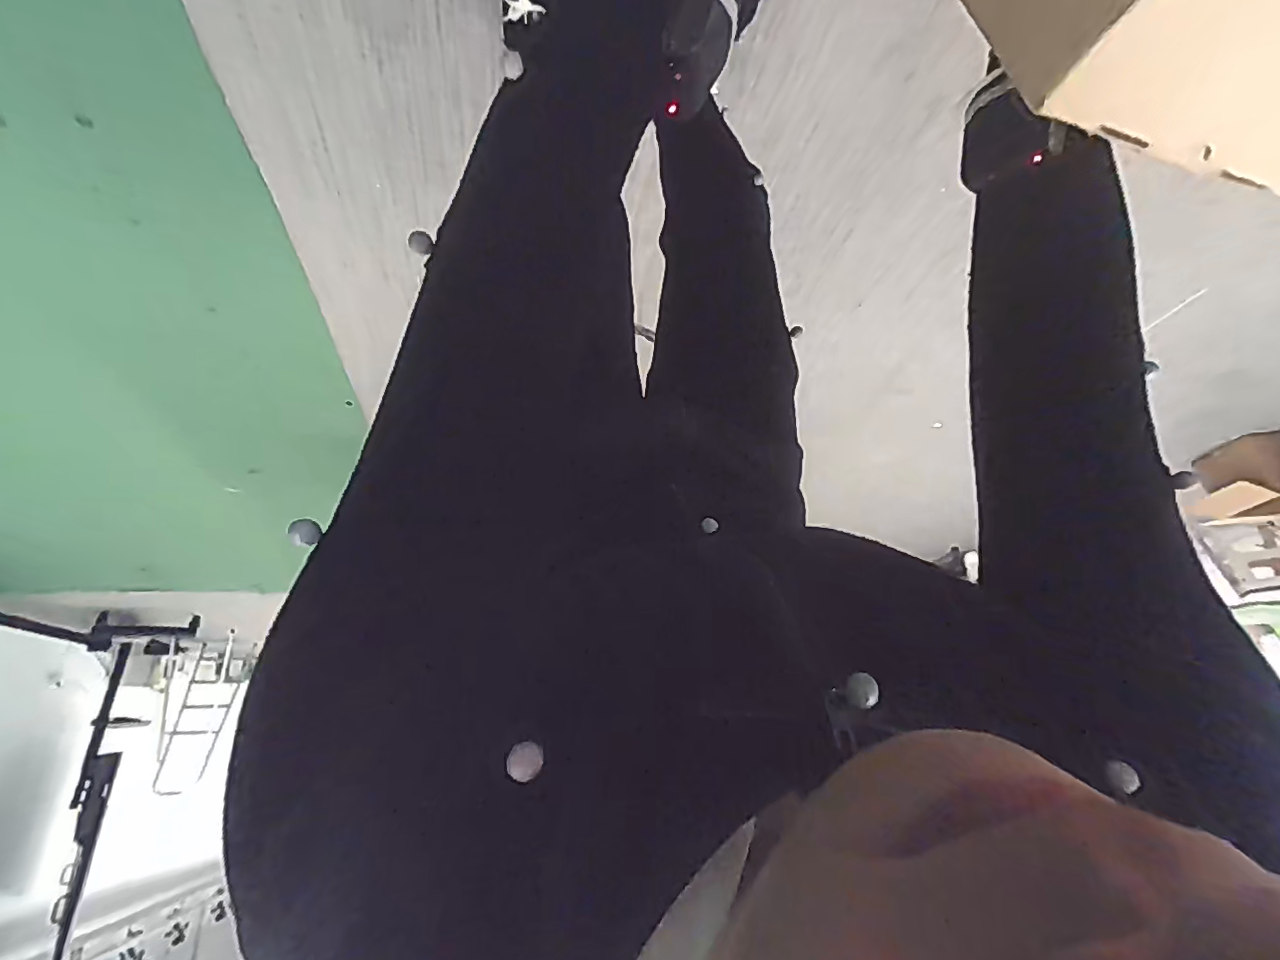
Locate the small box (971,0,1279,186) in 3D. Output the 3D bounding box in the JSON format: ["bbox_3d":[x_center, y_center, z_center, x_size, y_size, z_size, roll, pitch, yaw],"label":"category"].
[{"bbox_3d":[0.228,-0.244,0.176,0.168,0.176,0.179,3,154,-17],"label":"small box"}]
